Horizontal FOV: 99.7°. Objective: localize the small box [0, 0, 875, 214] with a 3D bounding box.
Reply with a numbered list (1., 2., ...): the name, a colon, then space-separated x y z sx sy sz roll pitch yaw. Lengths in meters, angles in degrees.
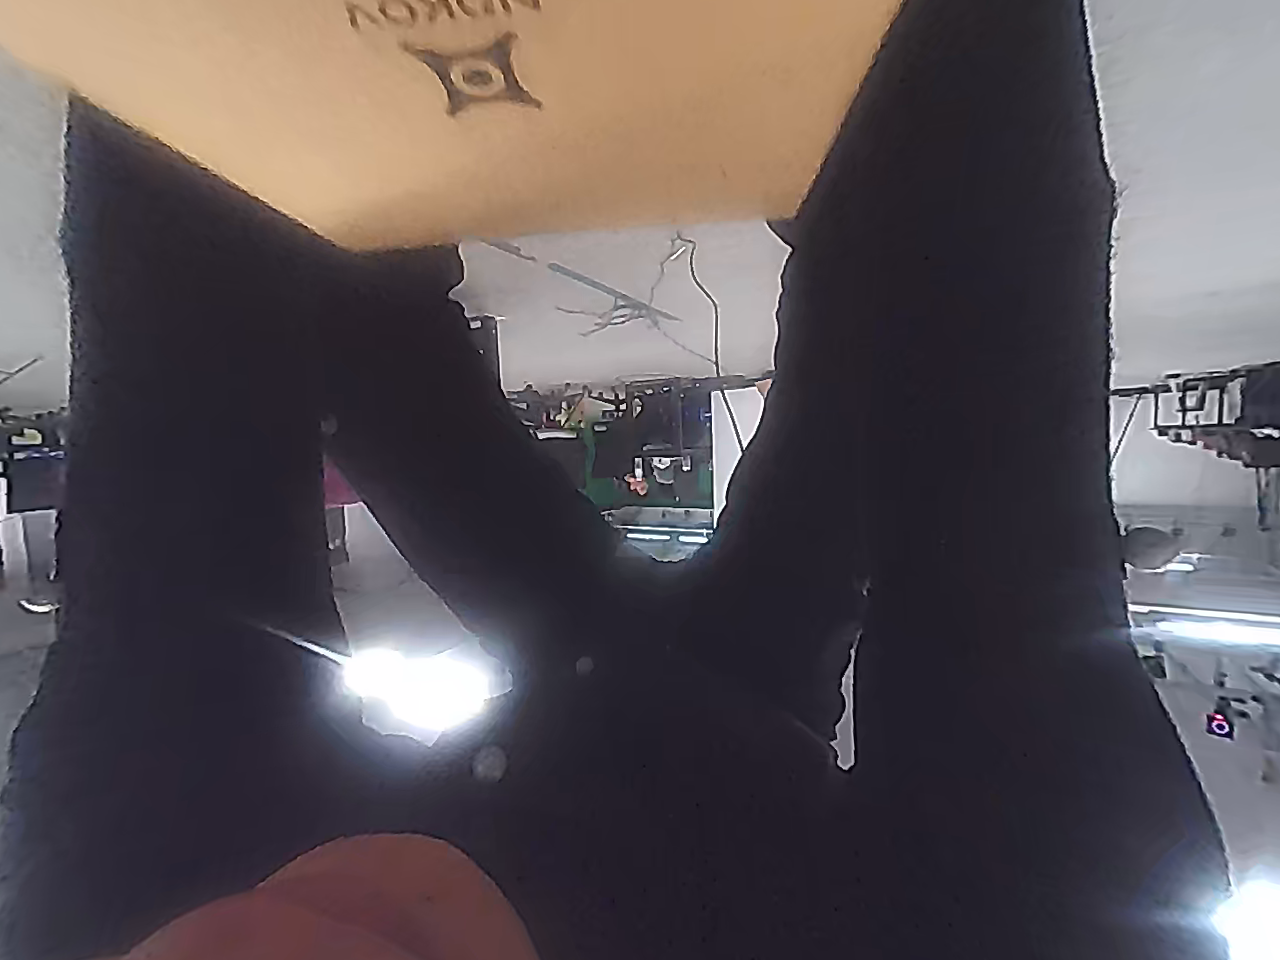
1. small box: -0.039 -0.171 0.097 0.168 0.176 0.179 -2 -176 4
